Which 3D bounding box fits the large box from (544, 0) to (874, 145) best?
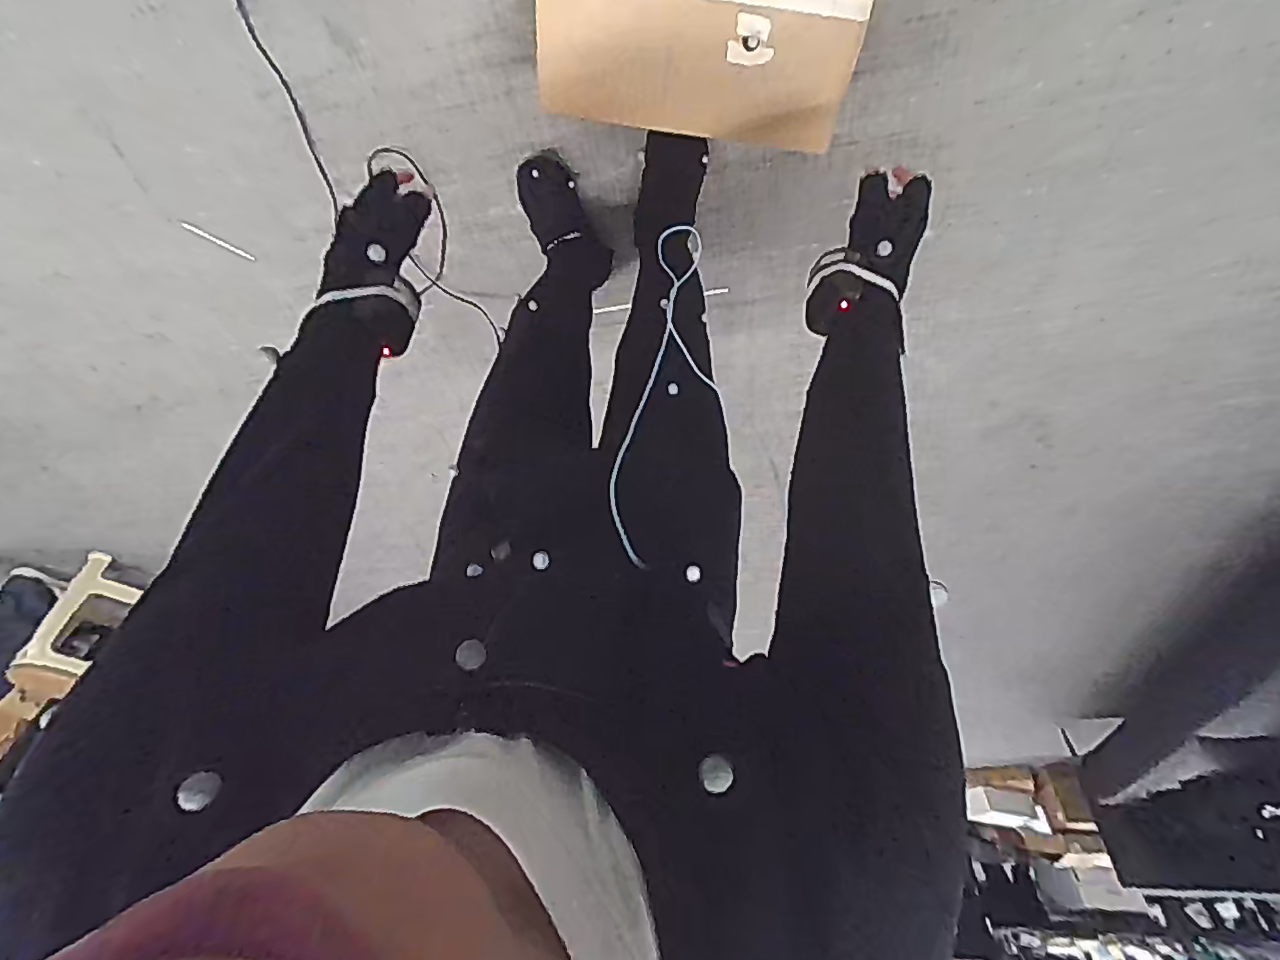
[{"bbox_3d":[0.087,-0.698,0.741,0.408,0.320,0.320,6,137,-4],"label":"large box"}]
